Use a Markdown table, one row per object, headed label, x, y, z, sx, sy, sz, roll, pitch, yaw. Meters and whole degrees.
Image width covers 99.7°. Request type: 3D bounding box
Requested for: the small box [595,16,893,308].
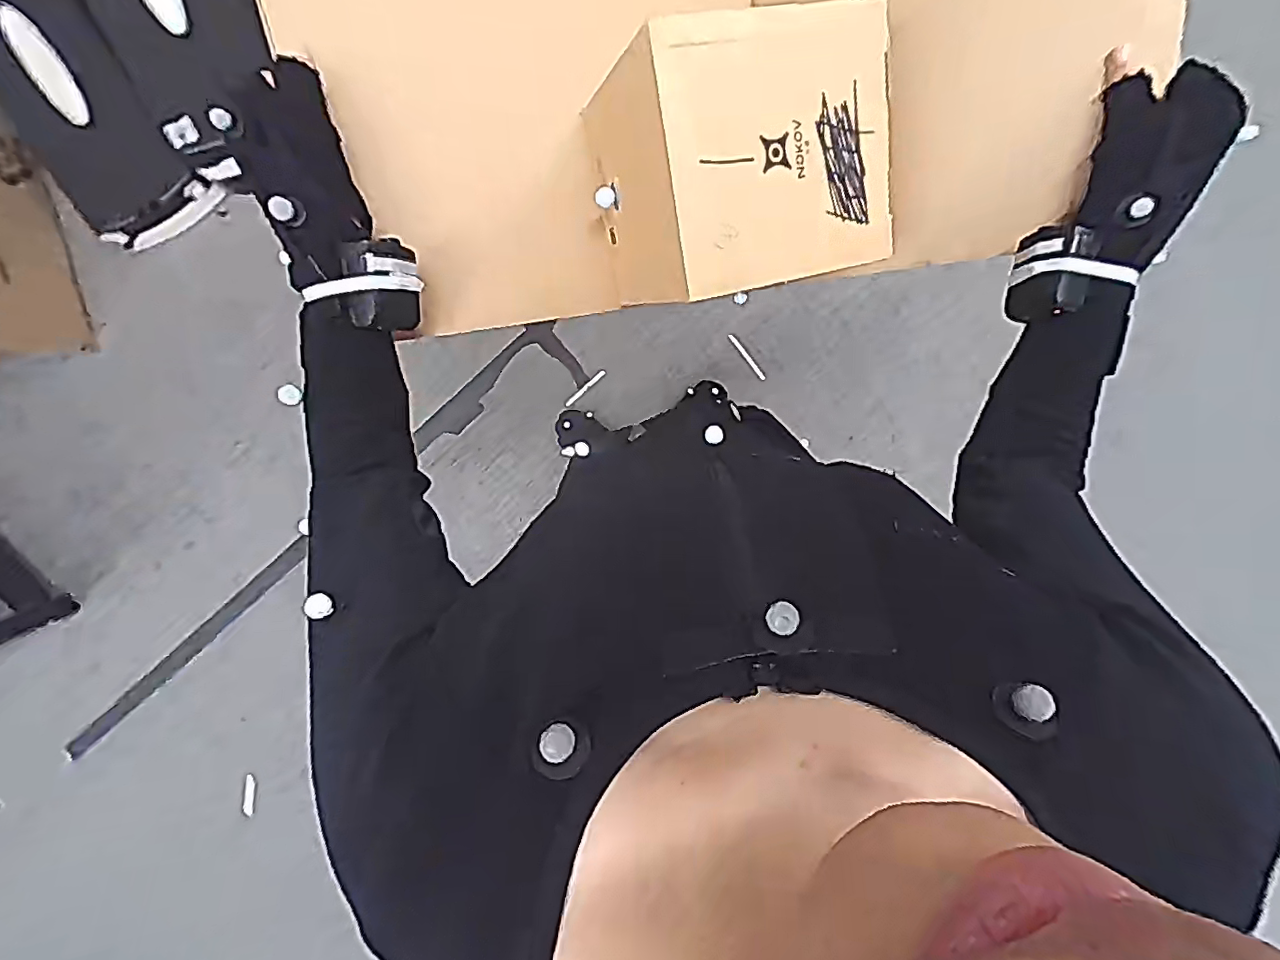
| label | x | y | z | sx | sy | sz | roll | pitch | yaw |
| --- | --- | --- | --- | --- | --- | --- | --- | --- | --- |
| small box | 0.078 | -0.242 | 0.446 | 0.179 | 0.176 | 0.168 | -16 | 111 | -14 |
